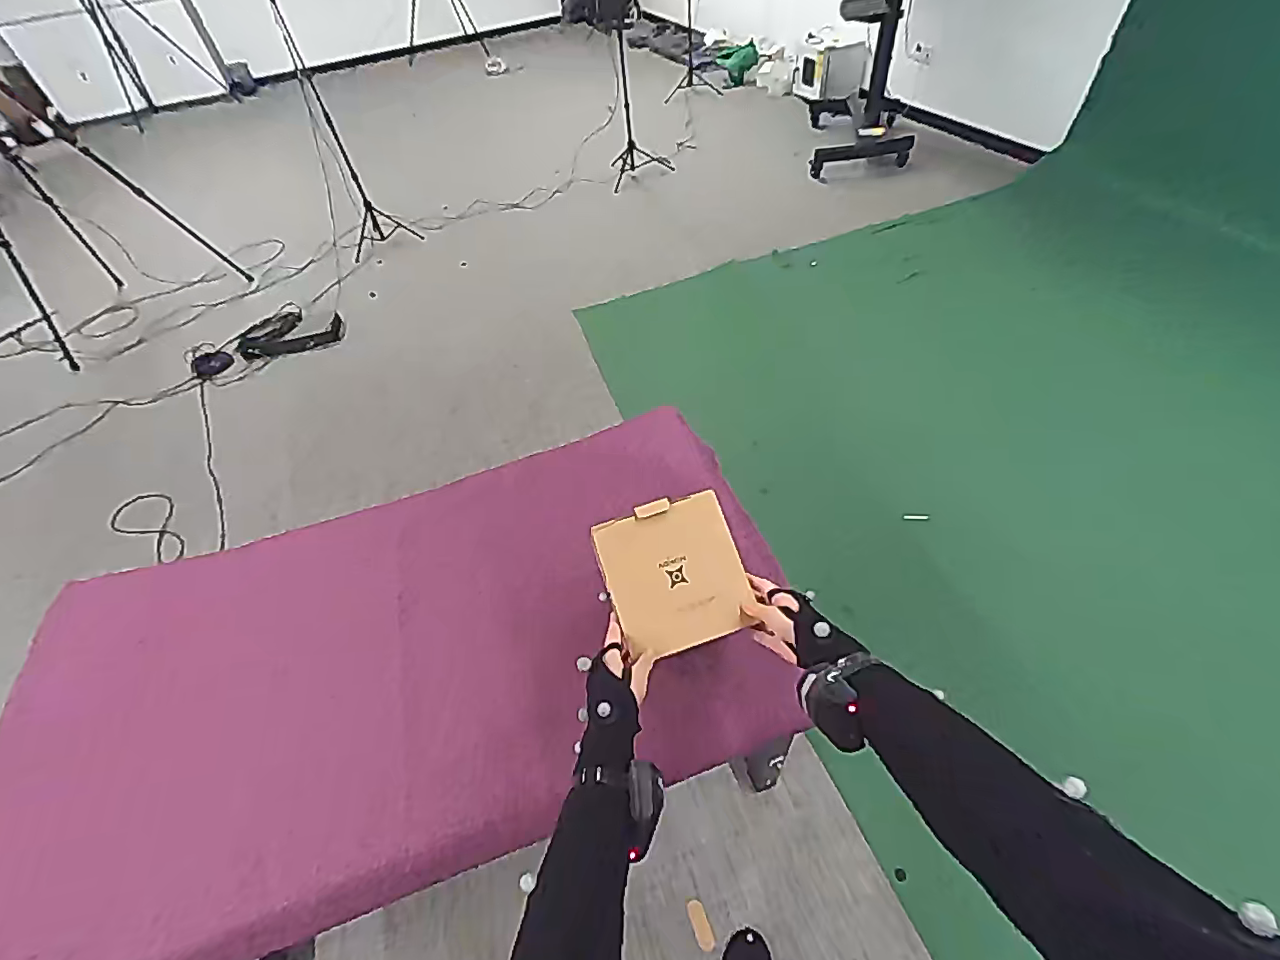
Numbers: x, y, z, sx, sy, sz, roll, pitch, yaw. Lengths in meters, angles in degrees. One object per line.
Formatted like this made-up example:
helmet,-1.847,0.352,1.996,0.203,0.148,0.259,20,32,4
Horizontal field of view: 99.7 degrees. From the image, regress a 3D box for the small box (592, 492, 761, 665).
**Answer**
small box,0.037,0.140,0.728,0.168,0.176,0.179,-17,74,-7
